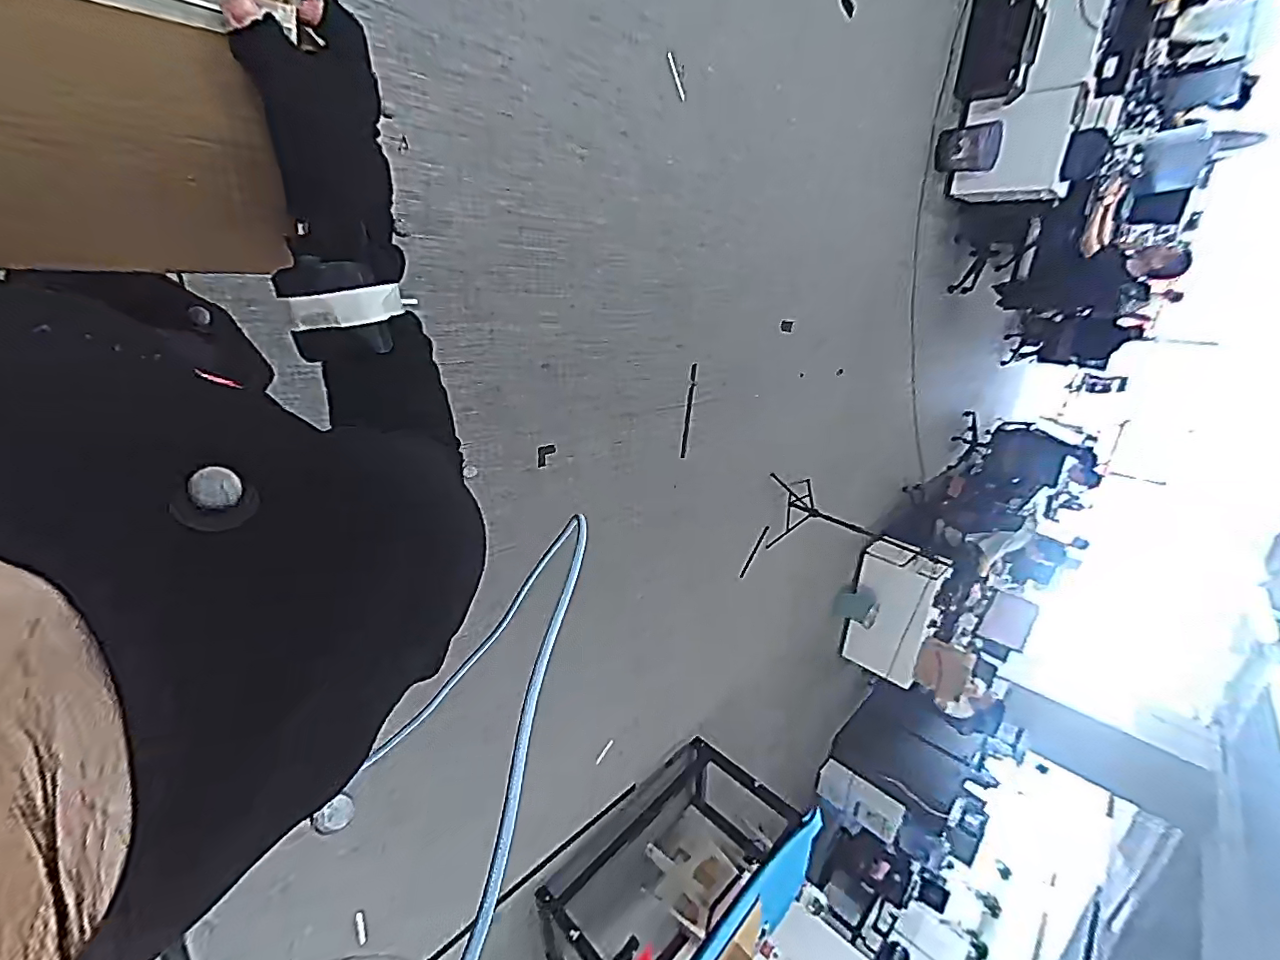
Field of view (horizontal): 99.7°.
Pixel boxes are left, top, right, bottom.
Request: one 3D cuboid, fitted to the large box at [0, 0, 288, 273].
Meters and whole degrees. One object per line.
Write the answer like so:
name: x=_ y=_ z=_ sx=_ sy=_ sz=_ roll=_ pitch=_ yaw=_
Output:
large box: x=-0.433 y=-0.316 z=0.233 sx=0.408 sy=0.320 sz=0.320 roll=-18 pitch=152 yaw=-41
